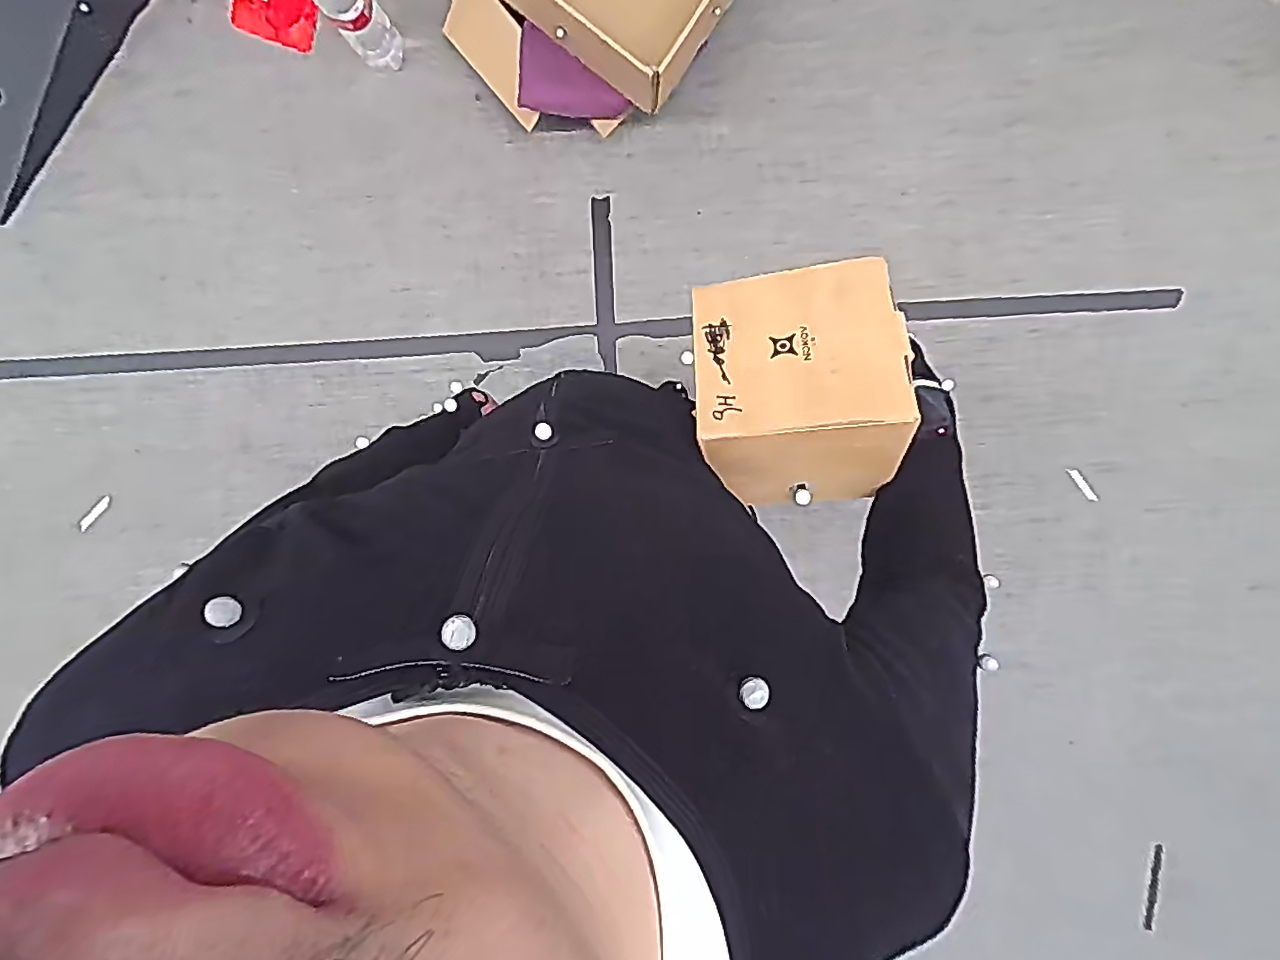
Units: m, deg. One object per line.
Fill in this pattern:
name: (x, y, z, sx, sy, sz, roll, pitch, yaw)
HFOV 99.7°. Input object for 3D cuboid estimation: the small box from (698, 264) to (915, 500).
small box: (0.156, -0.087, 0.554, 0.179, 0.176, 0.168, -4, 66, 12)
